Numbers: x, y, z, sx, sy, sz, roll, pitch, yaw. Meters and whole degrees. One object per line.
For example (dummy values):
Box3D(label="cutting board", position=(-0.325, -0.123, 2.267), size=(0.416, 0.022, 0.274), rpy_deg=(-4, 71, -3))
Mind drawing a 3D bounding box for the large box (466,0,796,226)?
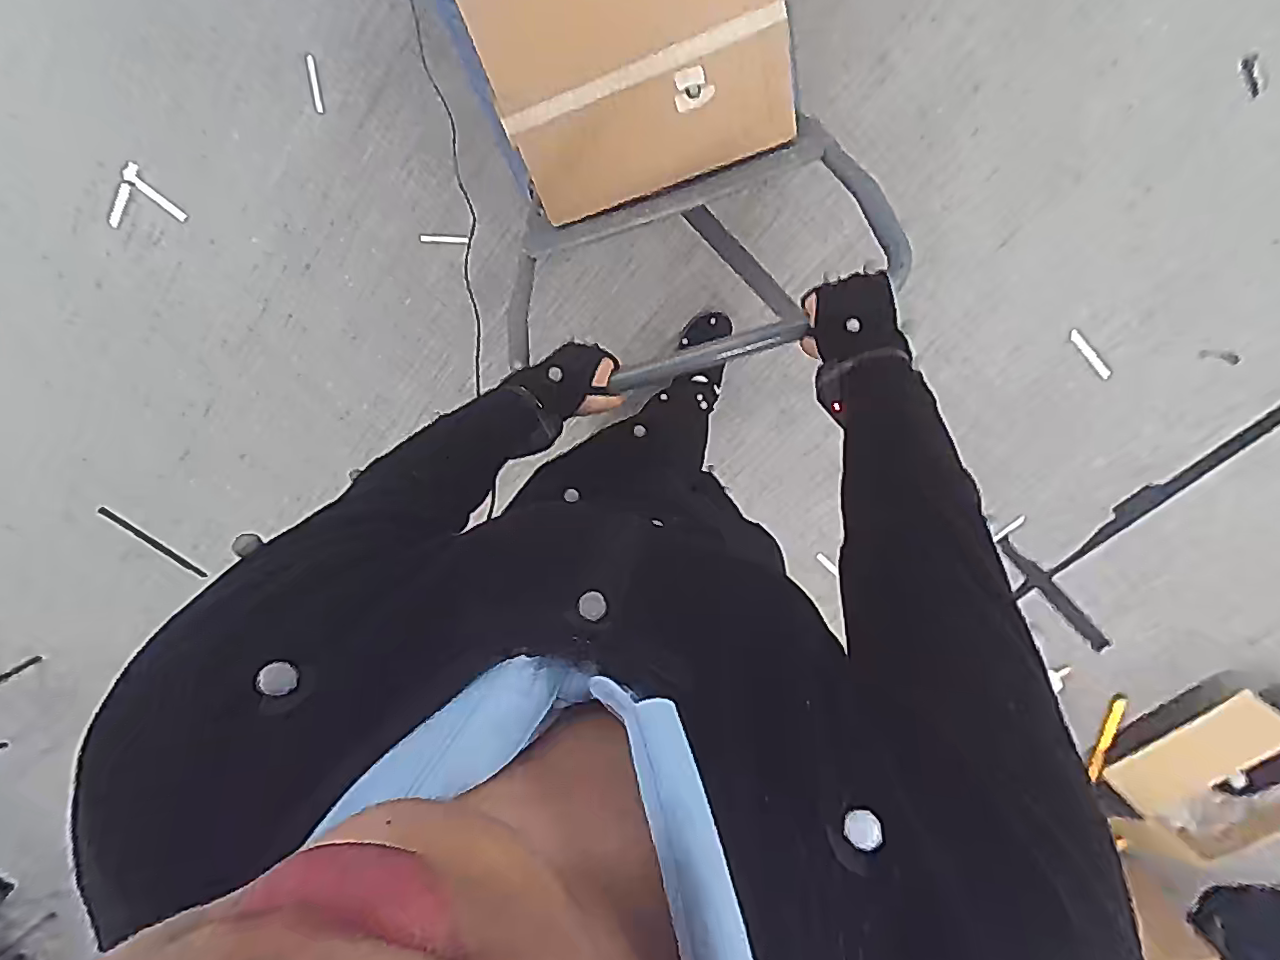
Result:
Box3D(label="large box", position=(-0.004, -0.681, 0.877), size=(0.408, 0.320, 0.320), rpy_deg=(-16, 132, 11))
